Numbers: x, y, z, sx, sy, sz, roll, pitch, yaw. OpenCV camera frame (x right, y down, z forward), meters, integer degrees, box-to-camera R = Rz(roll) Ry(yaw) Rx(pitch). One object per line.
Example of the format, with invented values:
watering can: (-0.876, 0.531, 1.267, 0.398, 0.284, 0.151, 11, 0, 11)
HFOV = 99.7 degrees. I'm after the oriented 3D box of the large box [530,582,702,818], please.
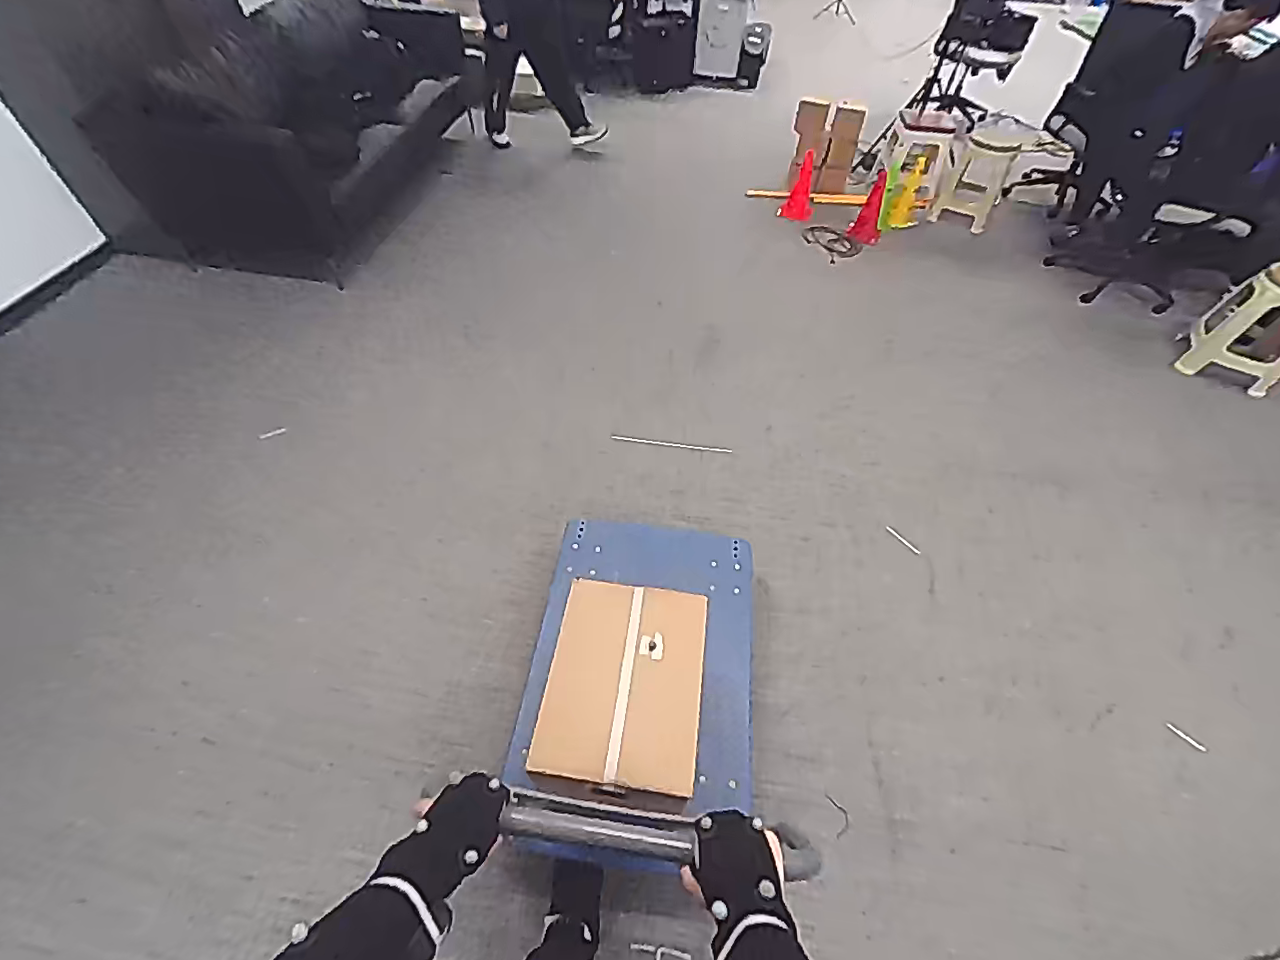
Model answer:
large box: (-0.035, 0.501, 1.238, 0.320, 0.320, 0.408, 8, 49, 4)
